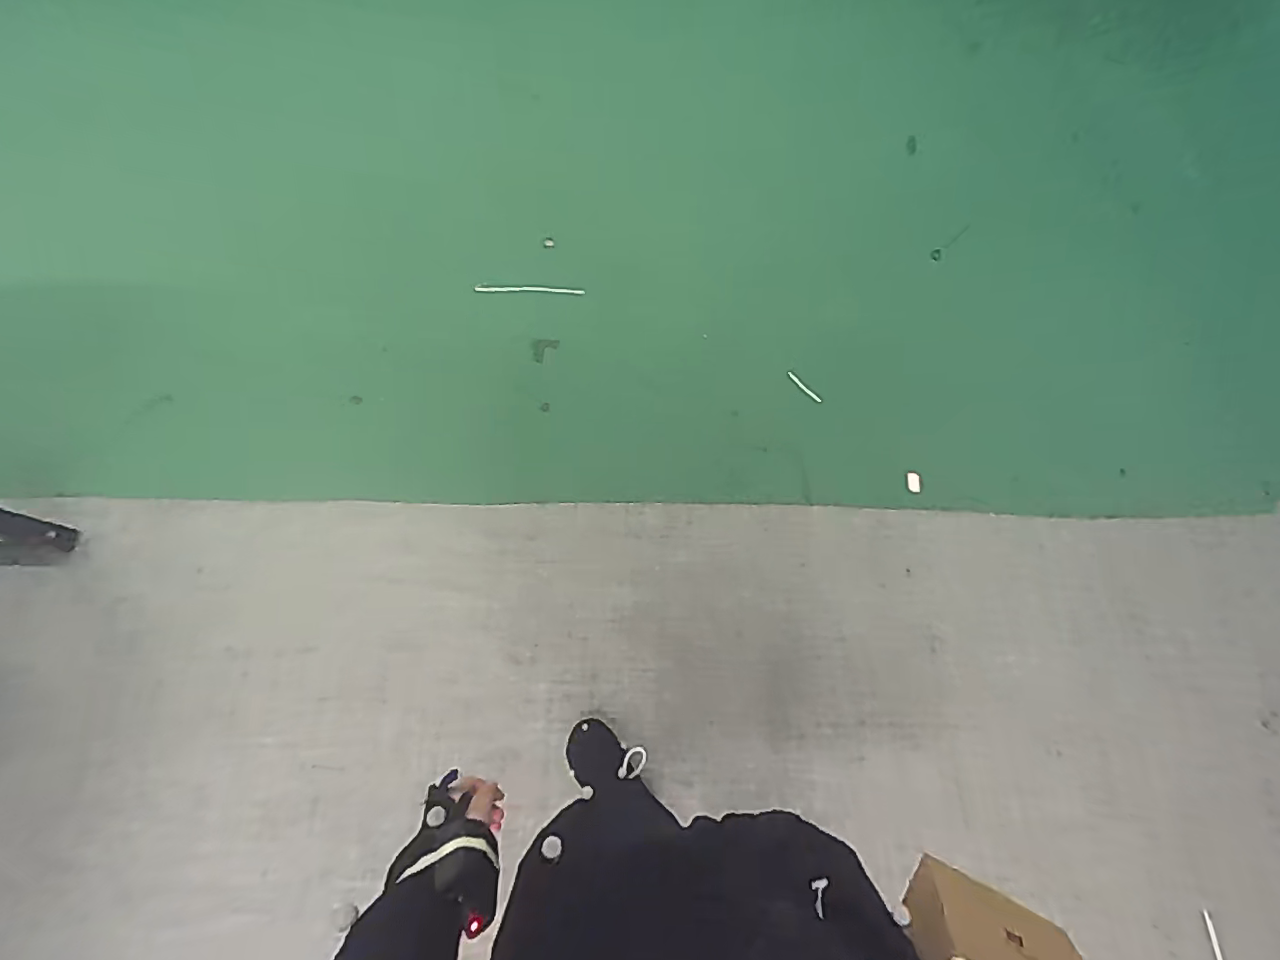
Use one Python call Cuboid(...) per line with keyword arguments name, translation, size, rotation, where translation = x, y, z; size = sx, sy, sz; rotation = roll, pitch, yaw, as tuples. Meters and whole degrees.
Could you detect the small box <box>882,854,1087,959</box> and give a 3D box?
Cuboid(name="small box", translation=(0.375, 0.572, 0.583), size=(0.168, 0.179, 0.176), rotation=(23, 94, 19))
